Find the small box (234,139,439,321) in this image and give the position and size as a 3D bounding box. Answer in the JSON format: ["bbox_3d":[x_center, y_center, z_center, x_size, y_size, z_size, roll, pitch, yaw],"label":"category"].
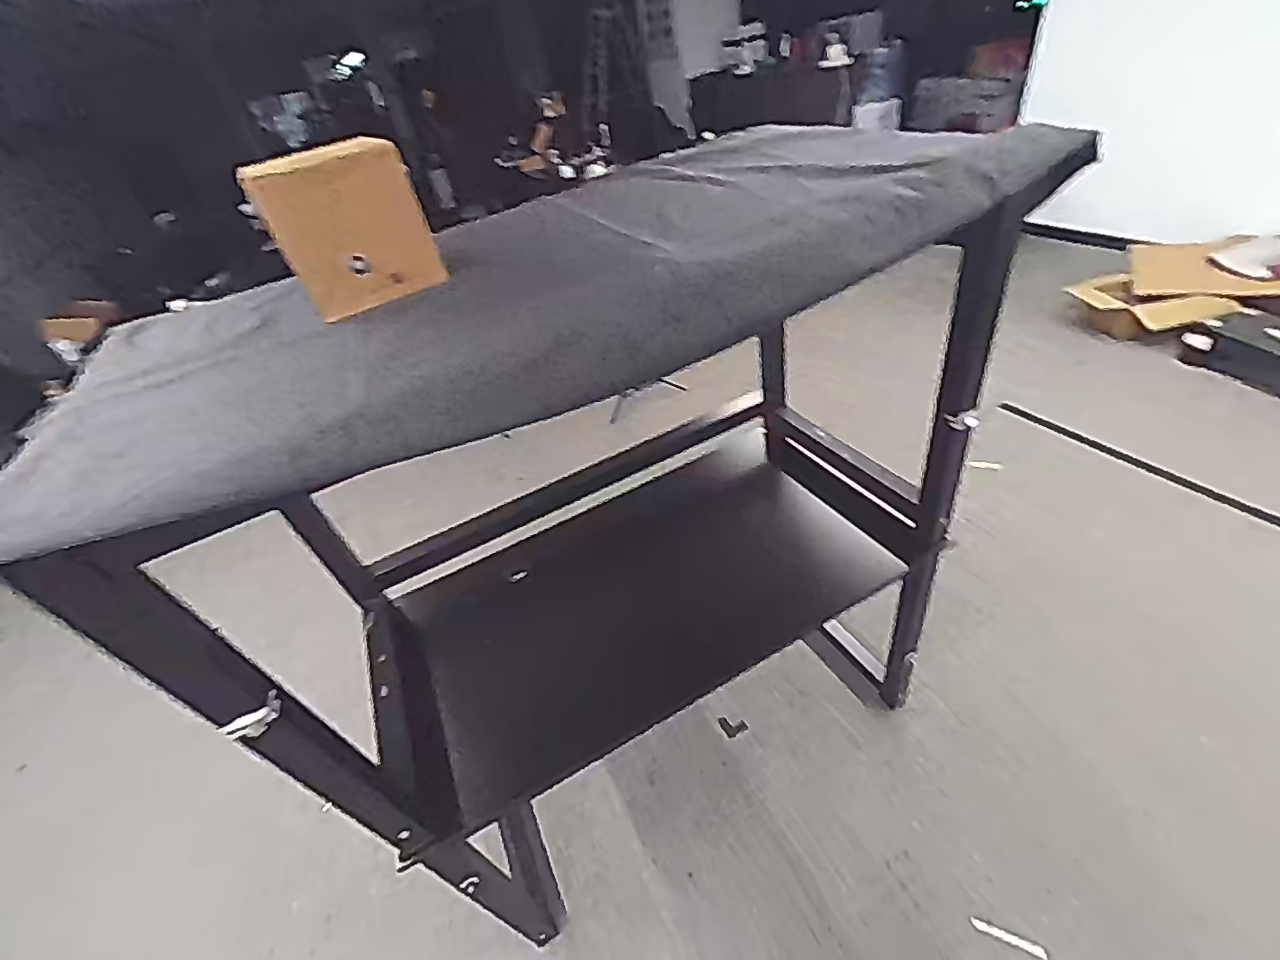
[{"bbox_3d":[-0.389,-0.327,0.705,0.168,0.176,0.179,-30,43,-19],"label":"small box"}]
